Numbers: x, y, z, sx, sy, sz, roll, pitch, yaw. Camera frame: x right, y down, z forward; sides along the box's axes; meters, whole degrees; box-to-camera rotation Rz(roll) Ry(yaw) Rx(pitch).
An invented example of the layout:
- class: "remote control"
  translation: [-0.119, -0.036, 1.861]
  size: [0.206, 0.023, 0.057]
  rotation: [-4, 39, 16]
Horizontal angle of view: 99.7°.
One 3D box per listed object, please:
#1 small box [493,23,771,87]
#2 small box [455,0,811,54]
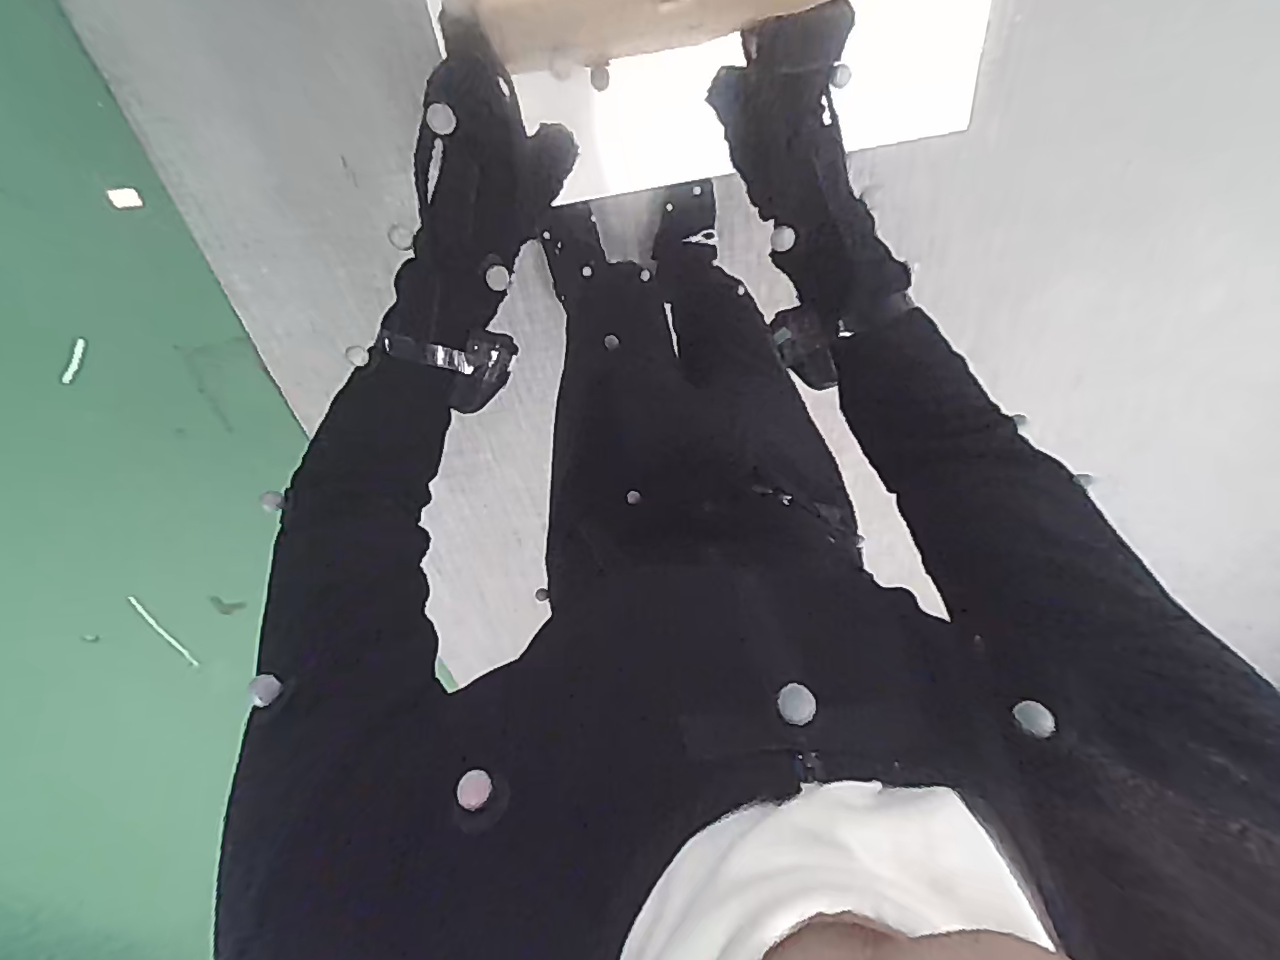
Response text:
- class: "small box"
  translation: [-0.027, -0.364, 0.332]
  size: [0.168, 0.176, 0.179]
  rotation: [-13, 125, -3]
- class: "small box"
  translation: [0.000, -0.276, 0.195]
  size: [0.168, 0.176, 0.179]
  rotation: [-11, 123, -4]
